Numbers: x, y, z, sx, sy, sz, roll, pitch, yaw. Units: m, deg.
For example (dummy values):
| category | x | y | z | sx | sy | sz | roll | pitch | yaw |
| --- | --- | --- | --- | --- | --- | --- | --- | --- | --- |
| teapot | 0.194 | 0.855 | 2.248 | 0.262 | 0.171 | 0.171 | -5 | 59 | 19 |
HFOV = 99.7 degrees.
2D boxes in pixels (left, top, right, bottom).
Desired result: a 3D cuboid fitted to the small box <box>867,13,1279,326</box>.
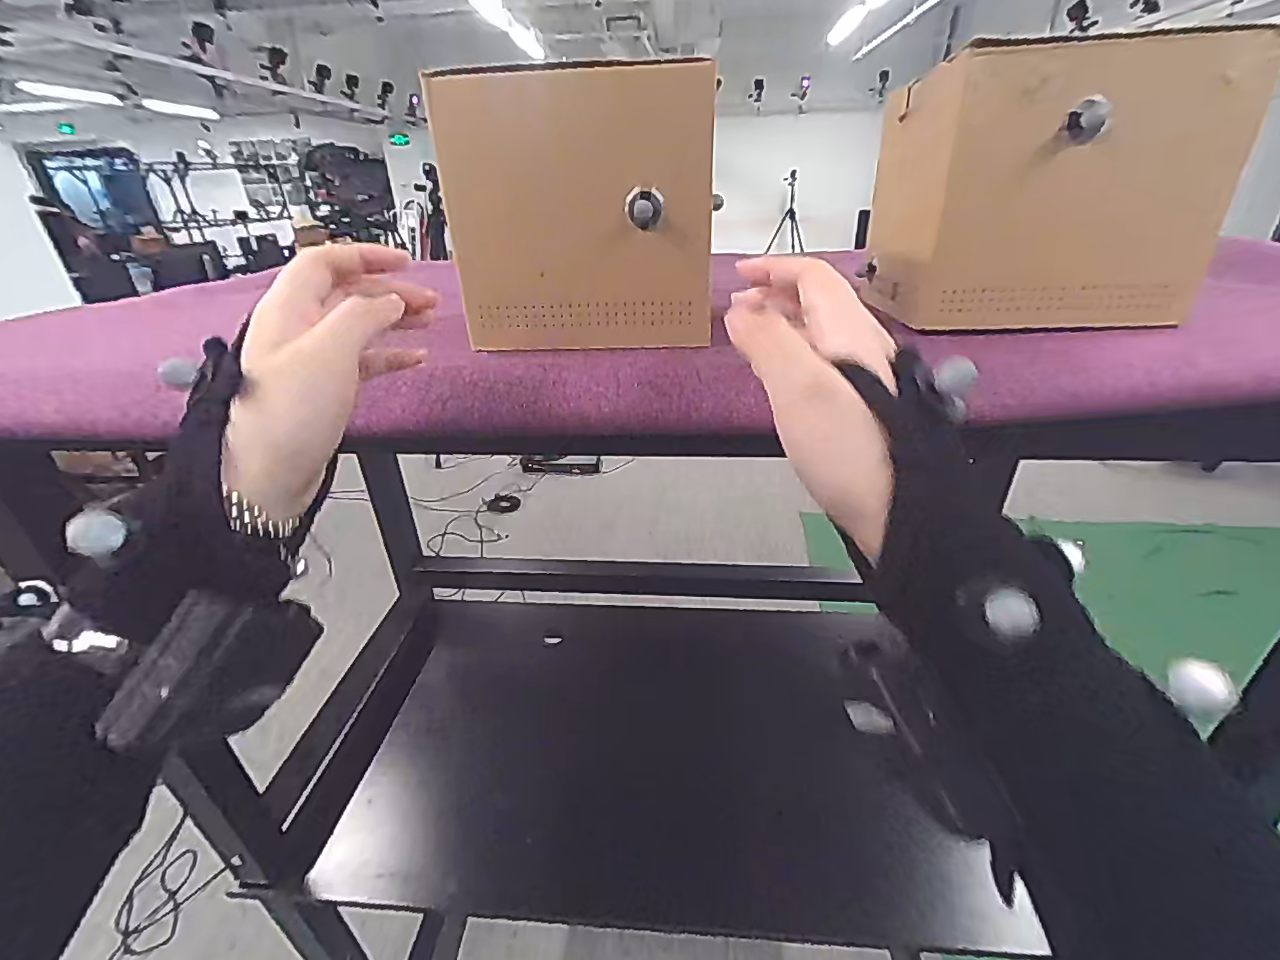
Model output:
| category | x | y | z | sx | sy | sz | roll | pitch | yaw |
| --- | --- | --- | --- | --- | --- | --- | --- | --- | --- |
| small box | 0.285 | -0.215 | 0.411 | 0.179 | 0.176 | 0.168 | 1 | 27 | 6 |

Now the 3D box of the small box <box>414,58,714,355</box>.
| category | x | y | z | sx | sy | sz | roll | pitch | yaw |
| --- | --- | --- | --- | --- | --- | --- | --- | --- | --- |
| small box | -0.038 | -0.201 | 0.415 | 0.179 | 0.176 | 0.168 | -1 | 29 | 4 |
